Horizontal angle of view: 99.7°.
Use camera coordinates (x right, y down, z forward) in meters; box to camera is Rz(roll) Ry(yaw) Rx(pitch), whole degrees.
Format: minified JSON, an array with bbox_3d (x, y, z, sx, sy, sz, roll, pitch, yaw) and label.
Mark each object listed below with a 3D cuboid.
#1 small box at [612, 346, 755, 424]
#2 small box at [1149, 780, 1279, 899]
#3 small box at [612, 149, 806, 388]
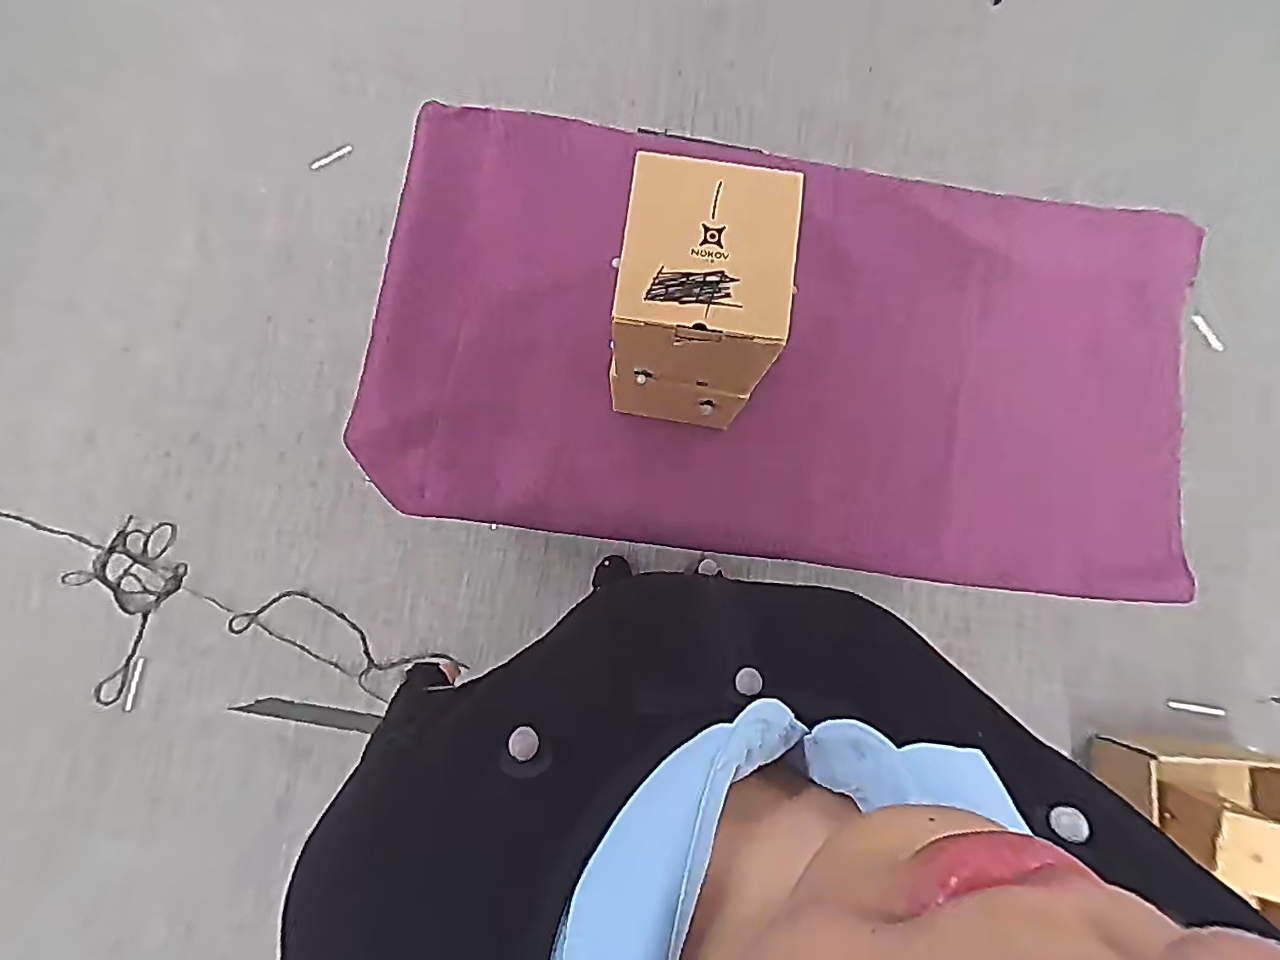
[{"bbox_3d":[0.063,-0.182,0.748,0.179,0.176,0.168,9,82,1],"label":"small box"},{"bbox_3d":[1.401,0.858,1.304,0.179,0.176,0.168,14,84,1],"label":"small box"},{"bbox_3d":[0.066,-0.211,0.586,0.168,0.176,0.179,8,82,0],"label":"small box"}]
